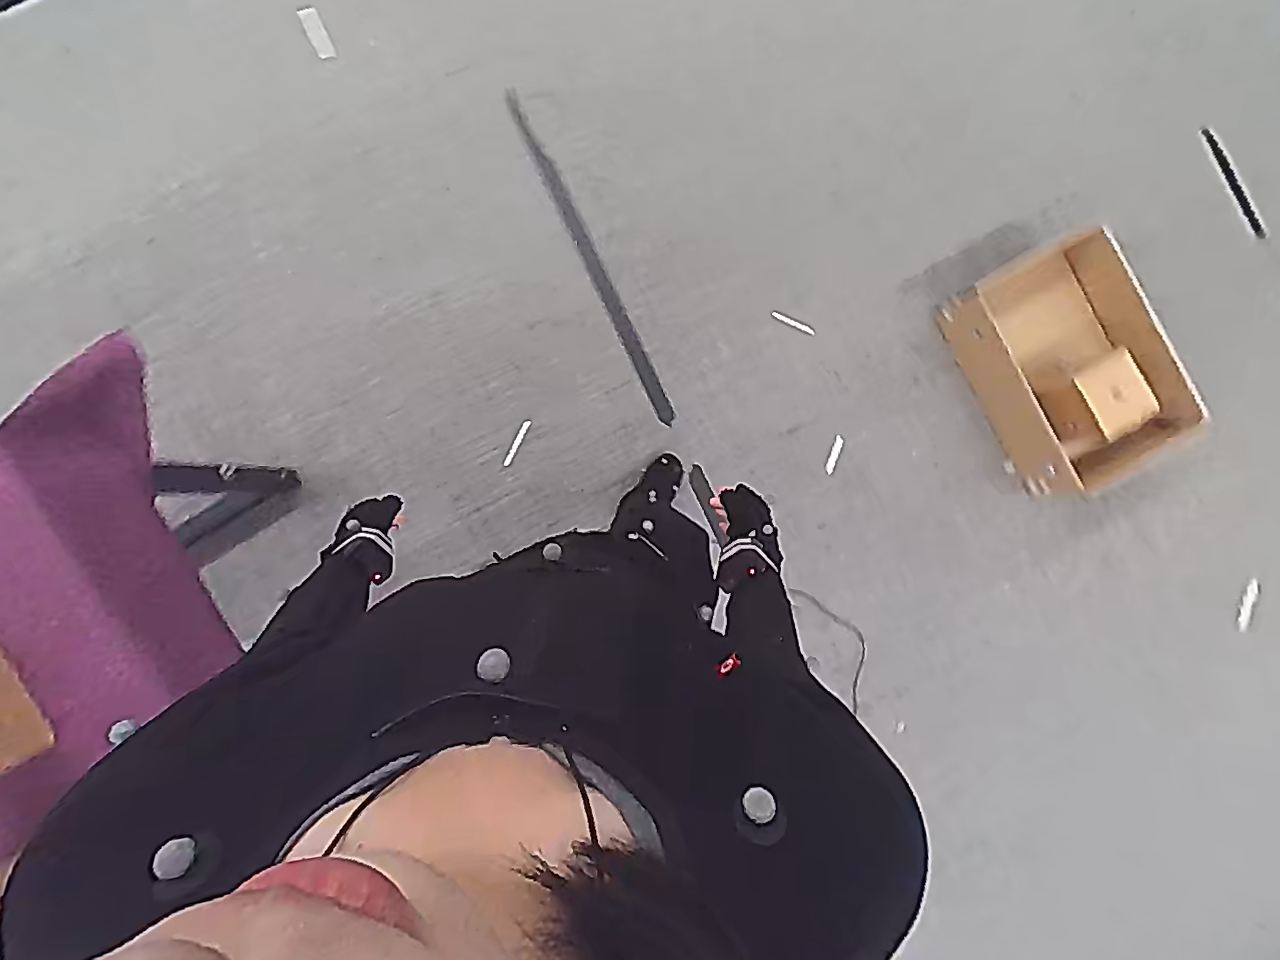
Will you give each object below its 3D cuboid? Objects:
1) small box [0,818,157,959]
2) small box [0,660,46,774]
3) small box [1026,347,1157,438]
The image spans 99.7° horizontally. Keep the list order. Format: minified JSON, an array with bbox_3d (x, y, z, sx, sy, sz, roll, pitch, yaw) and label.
[{"bbox_3d":[-0.777,0.575,0.670,0.179,0.176,0.168,-31,91,-3],"label":"small box"},{"bbox_3d":[-0.925,0.336,0.669,0.168,0.176,0.179,-32,91,-2],"label":"small box"},{"bbox_3d":[1.204,-0.224,1.455,0.168,0.176,0.179,-31,89,-3],"label":"small box"}]
